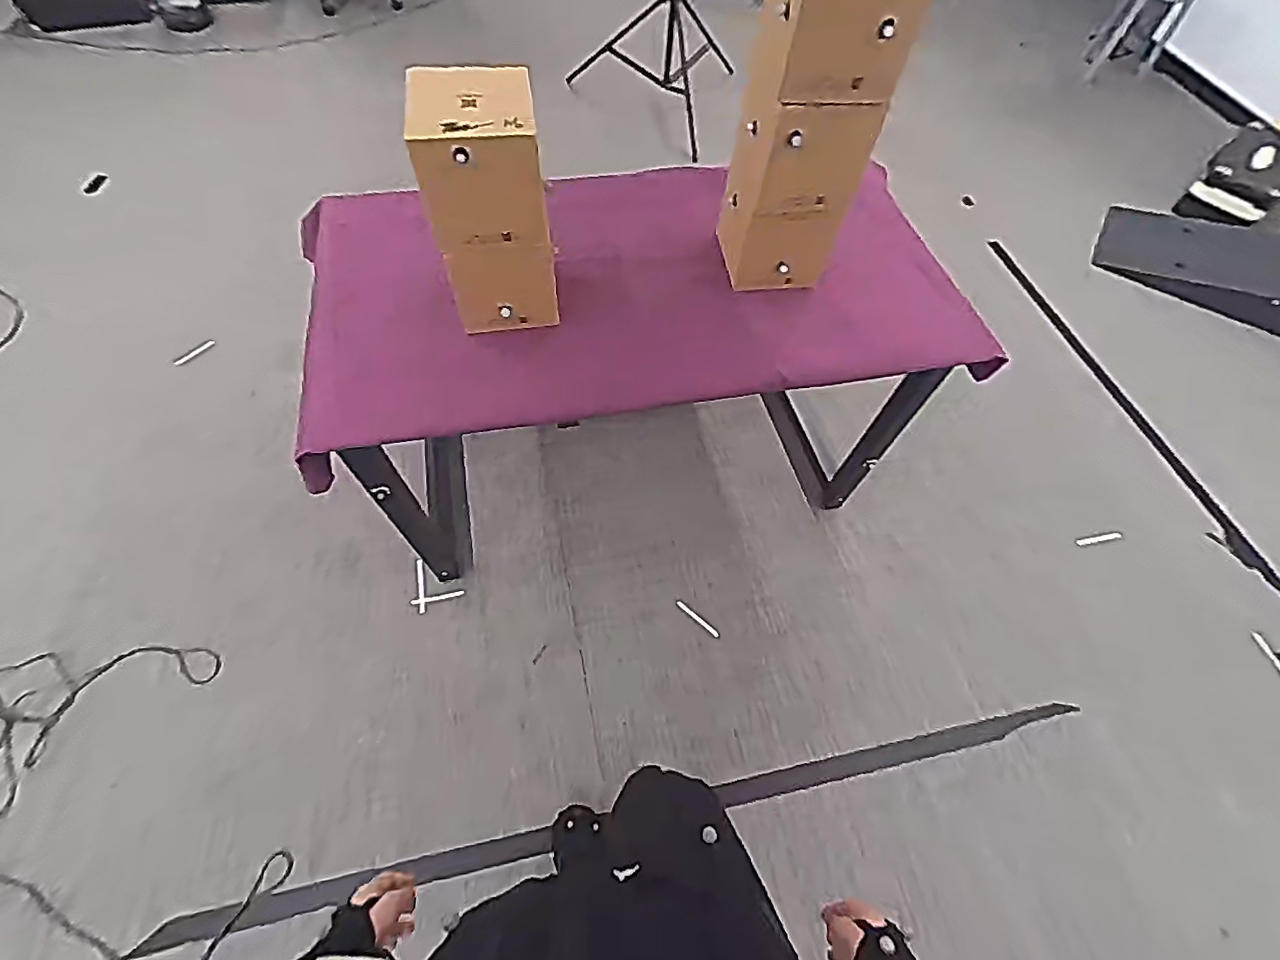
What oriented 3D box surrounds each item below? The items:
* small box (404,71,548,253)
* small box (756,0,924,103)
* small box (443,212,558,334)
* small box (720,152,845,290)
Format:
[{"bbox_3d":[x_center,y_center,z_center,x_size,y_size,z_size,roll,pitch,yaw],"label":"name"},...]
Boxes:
[{"bbox_3d":[-0.228,-0.457,0.784,0.168,0.176,0.179,-7,61,-7],"label":"small box"},{"bbox_3d":[0.267,-0.638,0.727,0.168,0.176,0.179,-3,59,-6],"label":"small box"},{"bbox_3d":[-0.235,-0.377,0.927,0.168,0.176,0.179,-8,62,-8],"label":"small box"},{"bbox_3d":[0.254,-0.482,1.014,0.168,0.176,0.179,-5,61,-5],"label":"small box"}]
